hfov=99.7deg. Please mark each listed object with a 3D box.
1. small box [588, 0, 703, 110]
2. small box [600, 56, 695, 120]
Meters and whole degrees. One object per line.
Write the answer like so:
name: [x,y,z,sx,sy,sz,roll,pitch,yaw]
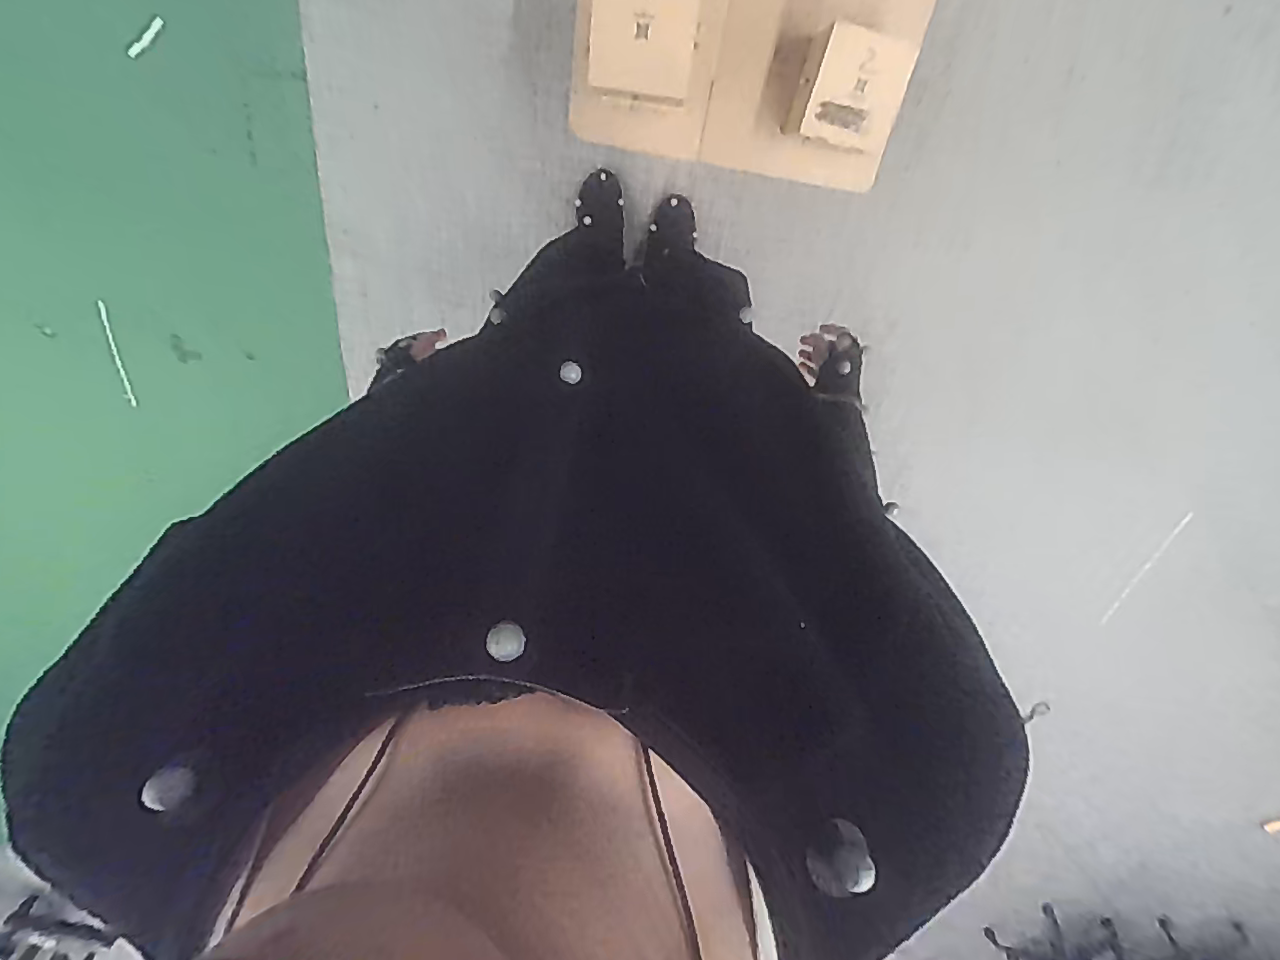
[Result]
small box: [0.012,-0.741,0.907,0.168,0.176,0.179,8,120,-2]
small box: [0.021,-0.819,1.052,0.168,0.176,0.179,8,120,-2]
